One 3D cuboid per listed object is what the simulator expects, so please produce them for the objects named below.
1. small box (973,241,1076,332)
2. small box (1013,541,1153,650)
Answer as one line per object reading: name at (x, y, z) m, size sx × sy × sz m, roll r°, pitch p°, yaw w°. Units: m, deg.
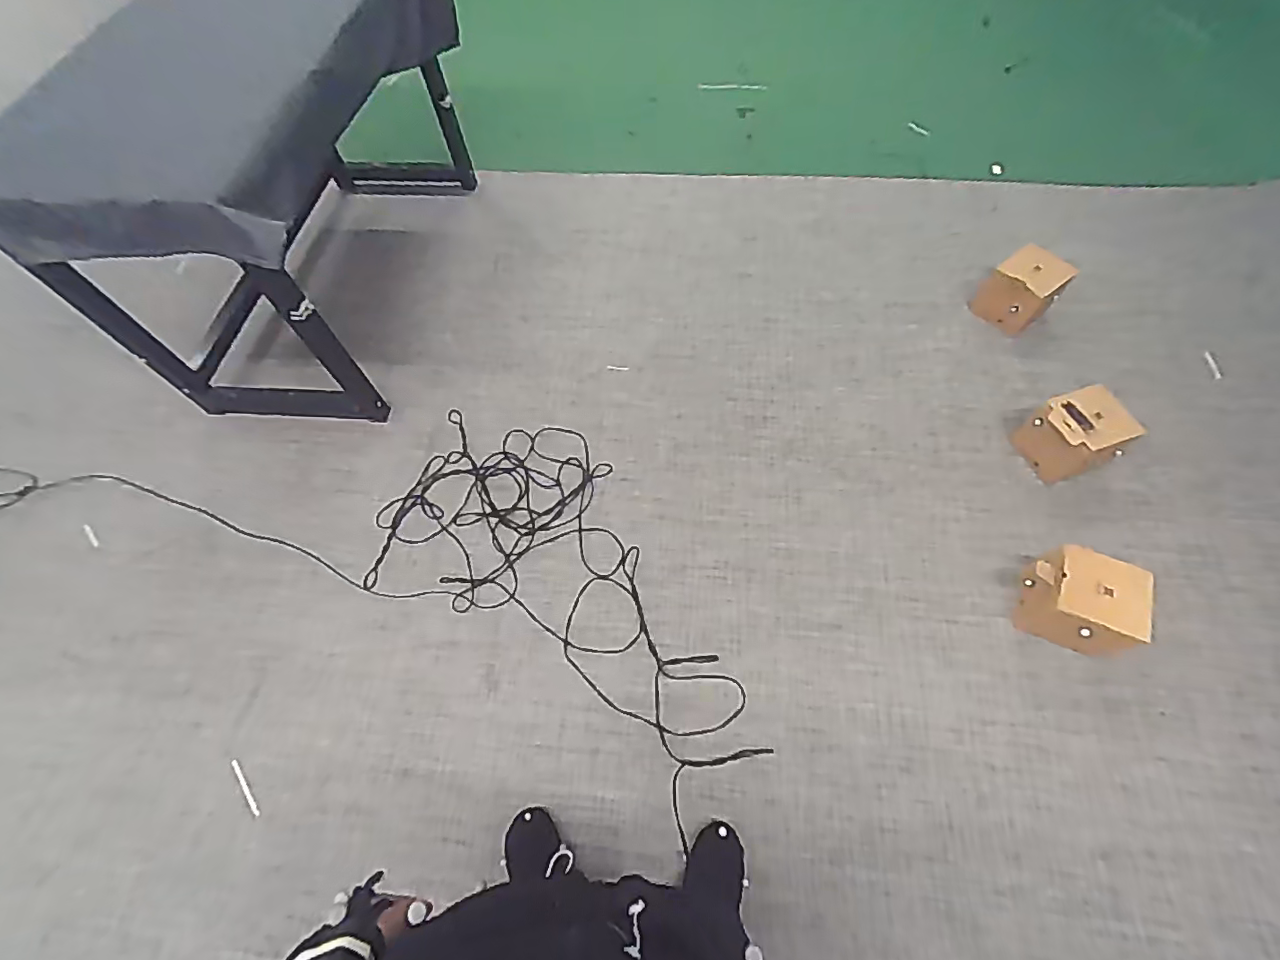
small box at (1.172, -0.591, 1.669) m, size 0.179 × 0.176 × 0.168 m, roll -35°, pitch 67°, yaw -17°
small box at (0.986, 0.267, 1.213) m, size 0.179 × 0.176 × 0.168 m, roll 22°, pitch 65°, yaw 14°
